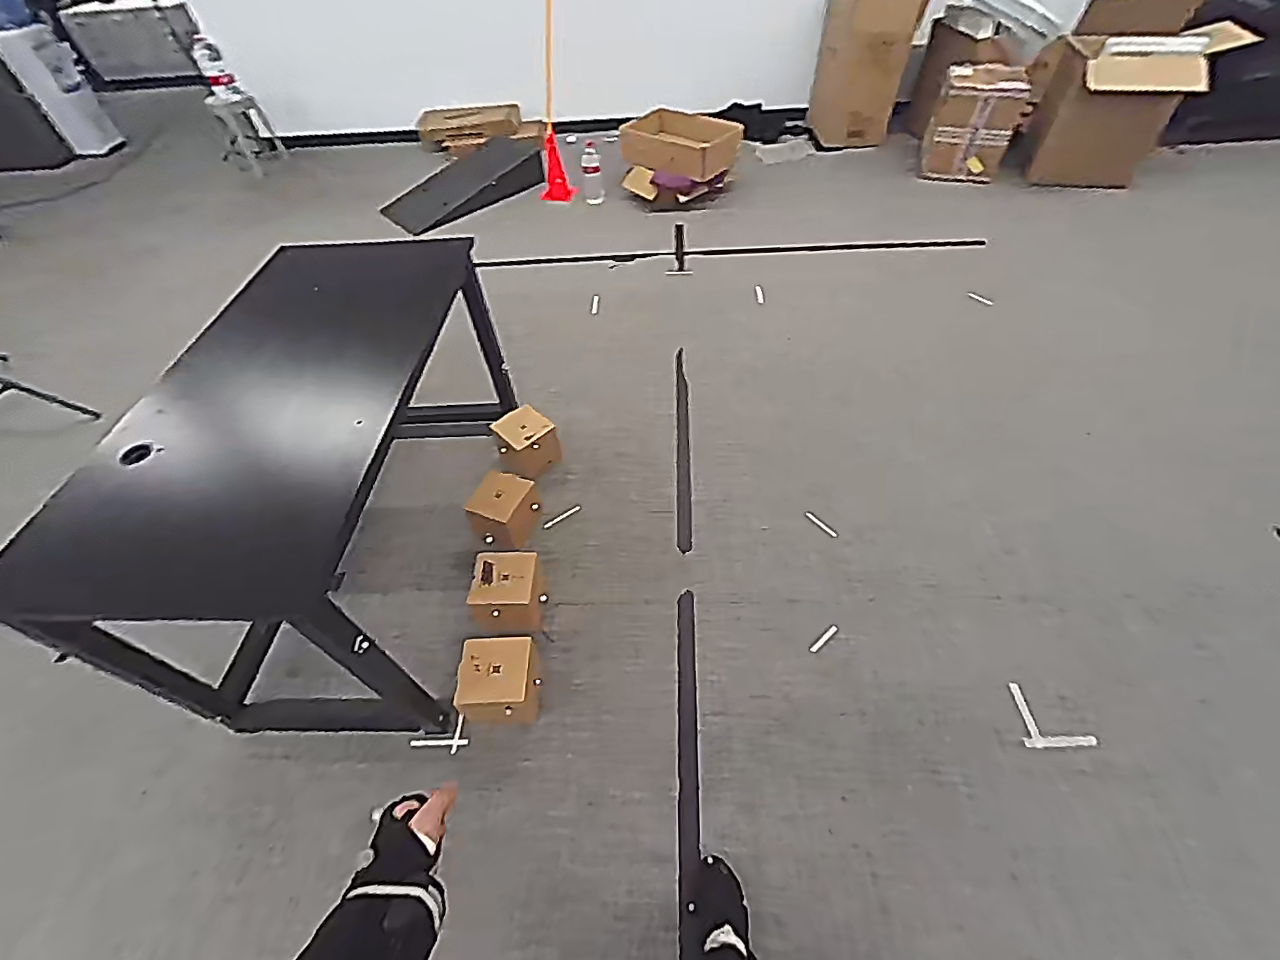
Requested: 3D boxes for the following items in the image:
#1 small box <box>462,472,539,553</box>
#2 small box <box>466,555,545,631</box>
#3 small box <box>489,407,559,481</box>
[{"bbox_3d":[-0.445,0.108,1.772,0.168,0.176,0.179,15,54,17],"label":"small box"},{"bbox_3d":[-0.385,0.333,1.580,0.179,0.176,0.168,-1,51,1],"label":"small box"},{"bbox_3d":[-0.417,-0.127,1.961,0.179,0.176,0.168,36,61,29],"label":"small box"}]
